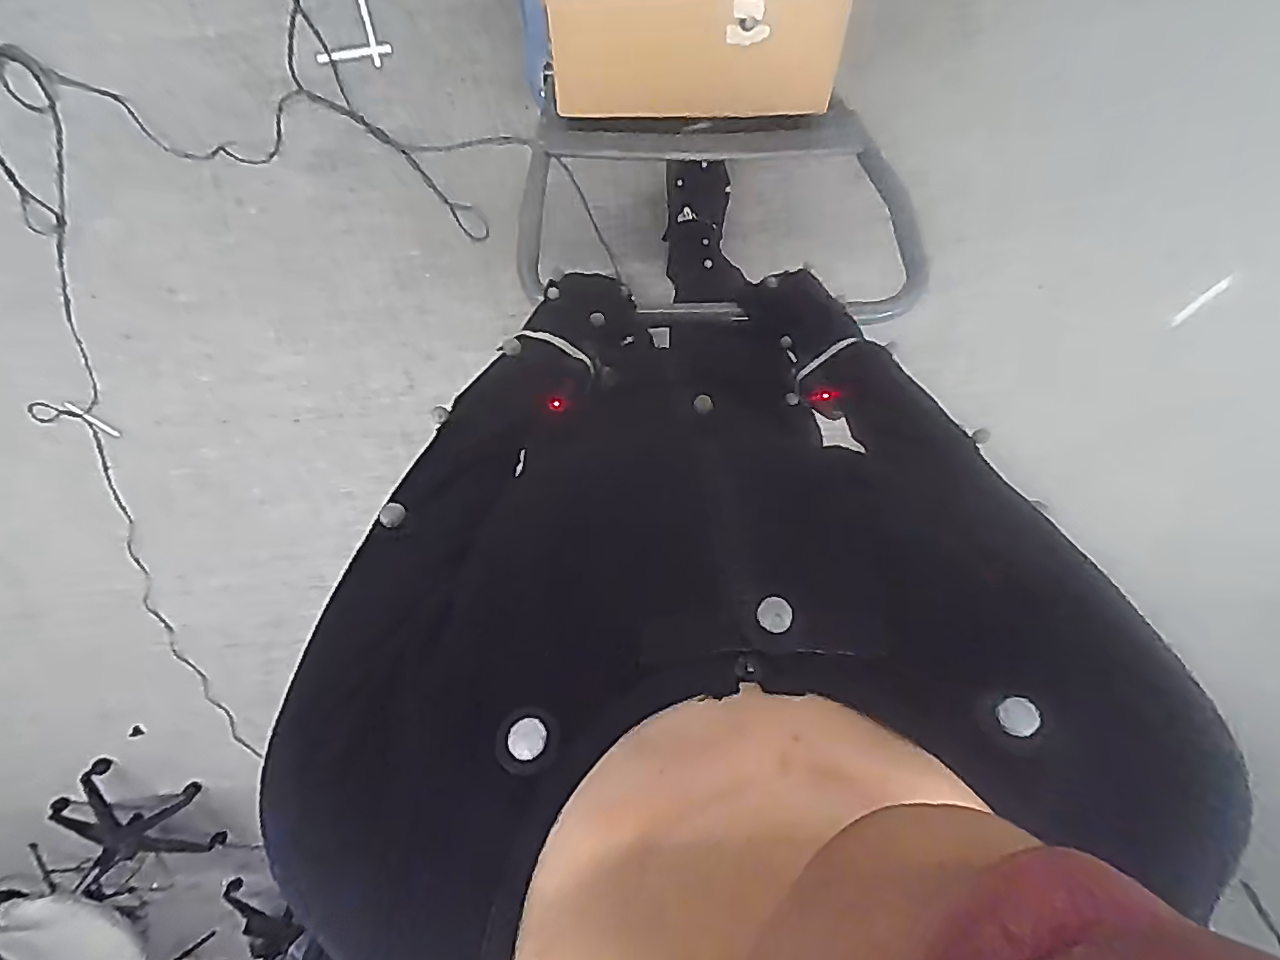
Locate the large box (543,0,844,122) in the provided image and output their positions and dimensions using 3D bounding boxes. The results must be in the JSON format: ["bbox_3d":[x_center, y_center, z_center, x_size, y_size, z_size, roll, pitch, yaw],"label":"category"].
[{"bbox_3d":[0.063,-0.754,0.785,0.408,0.320,0.320,-2,141,-1],"label":"large box"}]
